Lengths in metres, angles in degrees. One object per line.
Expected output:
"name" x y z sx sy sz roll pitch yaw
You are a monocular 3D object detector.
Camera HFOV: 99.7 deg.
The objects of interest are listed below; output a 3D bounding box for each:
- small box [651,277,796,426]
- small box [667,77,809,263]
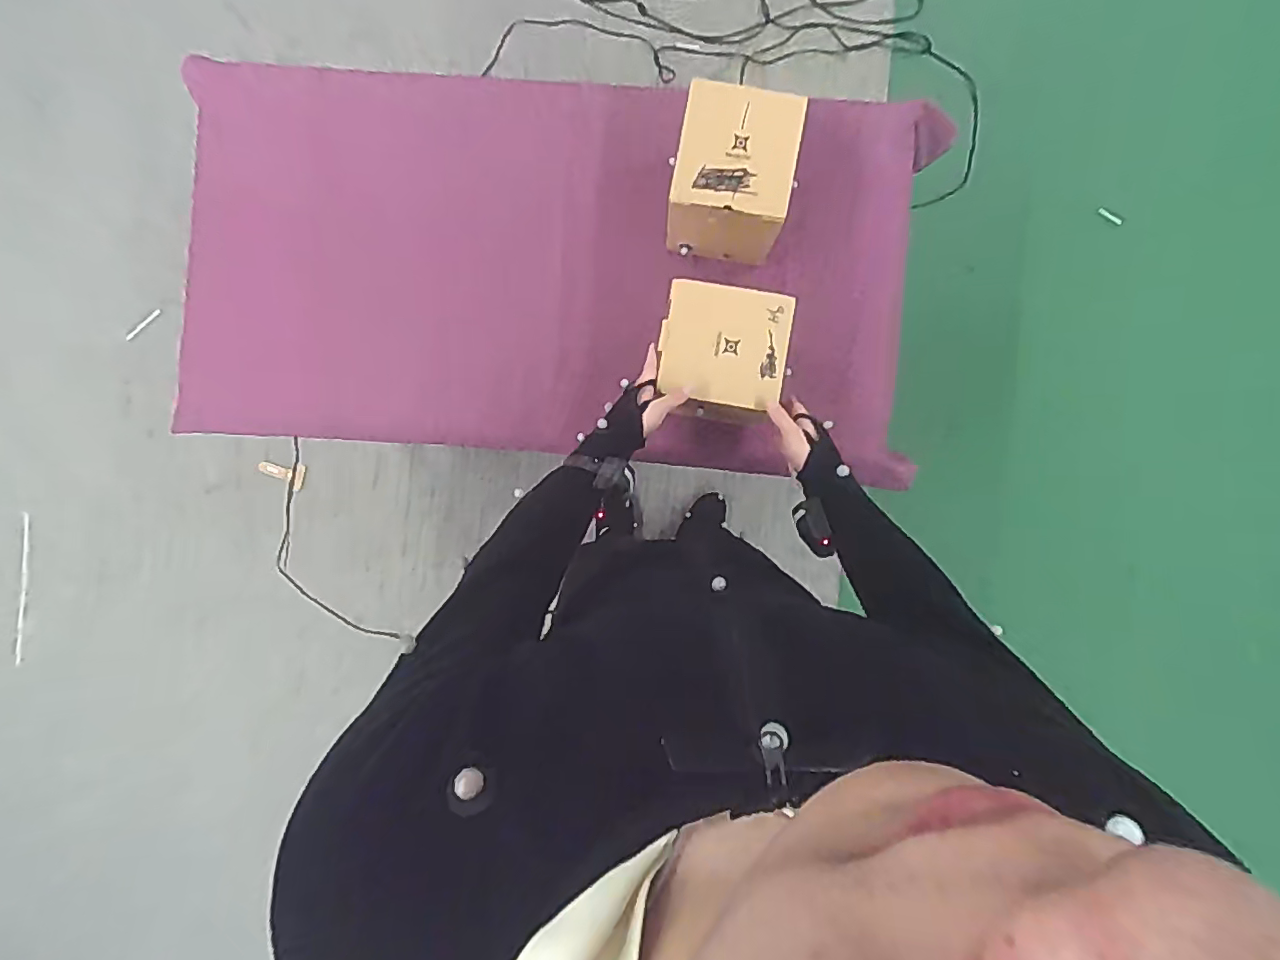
"small box" 0.118 -0.183 0.819 0.179 0.176 0.168 10 89 2
"small box" 0.138 -0.454 0.821 0.168 0.176 0.179 11 90 1
